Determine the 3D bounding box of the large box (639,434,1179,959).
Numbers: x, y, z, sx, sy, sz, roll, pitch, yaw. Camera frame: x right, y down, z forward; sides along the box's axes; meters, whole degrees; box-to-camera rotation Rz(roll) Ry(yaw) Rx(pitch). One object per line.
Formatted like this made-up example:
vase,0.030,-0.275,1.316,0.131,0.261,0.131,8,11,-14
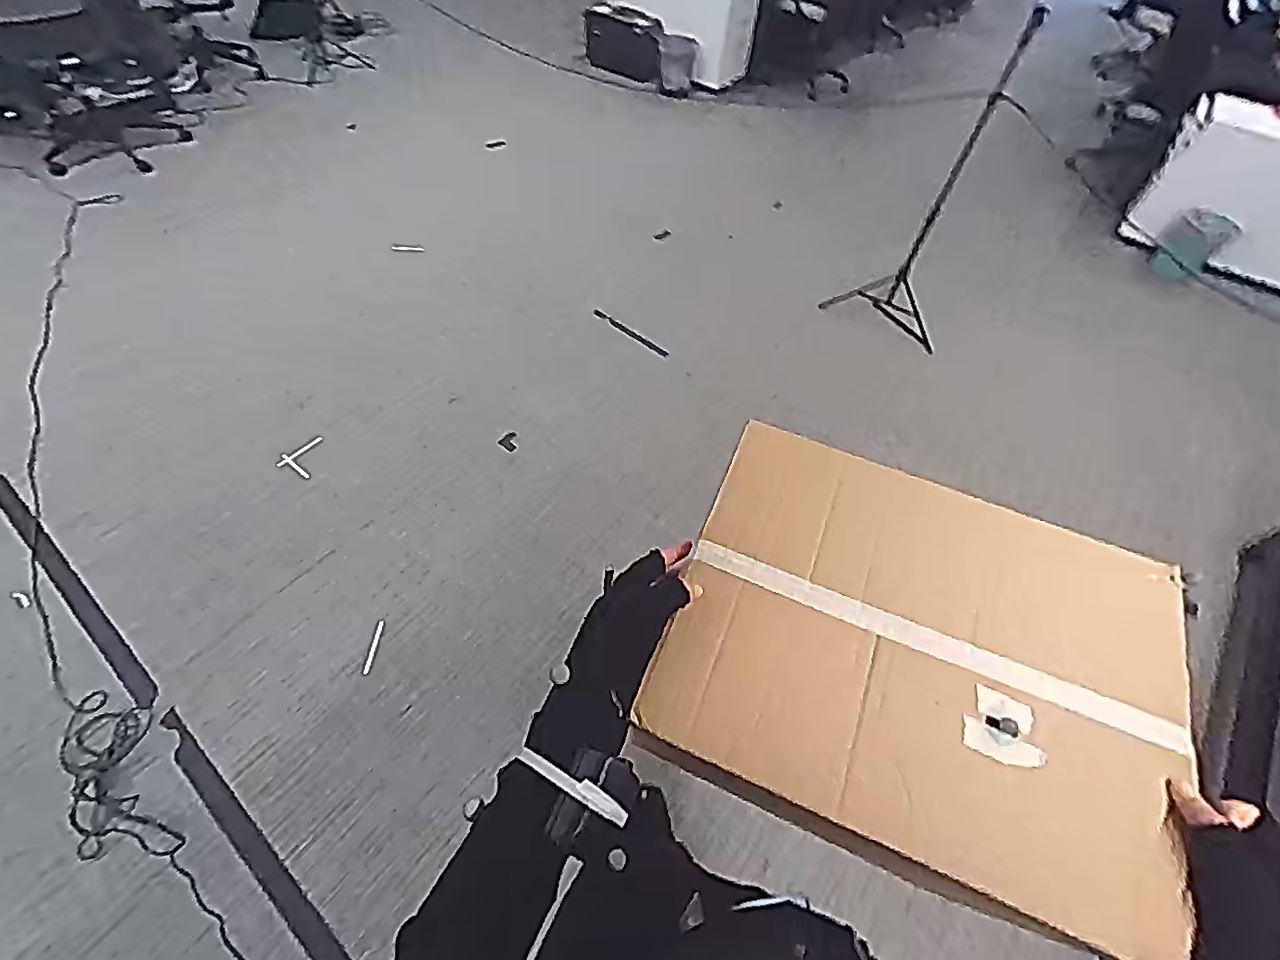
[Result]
large box,0.238,0.210,0.597,0.408,0.320,0.320,22,64,10
